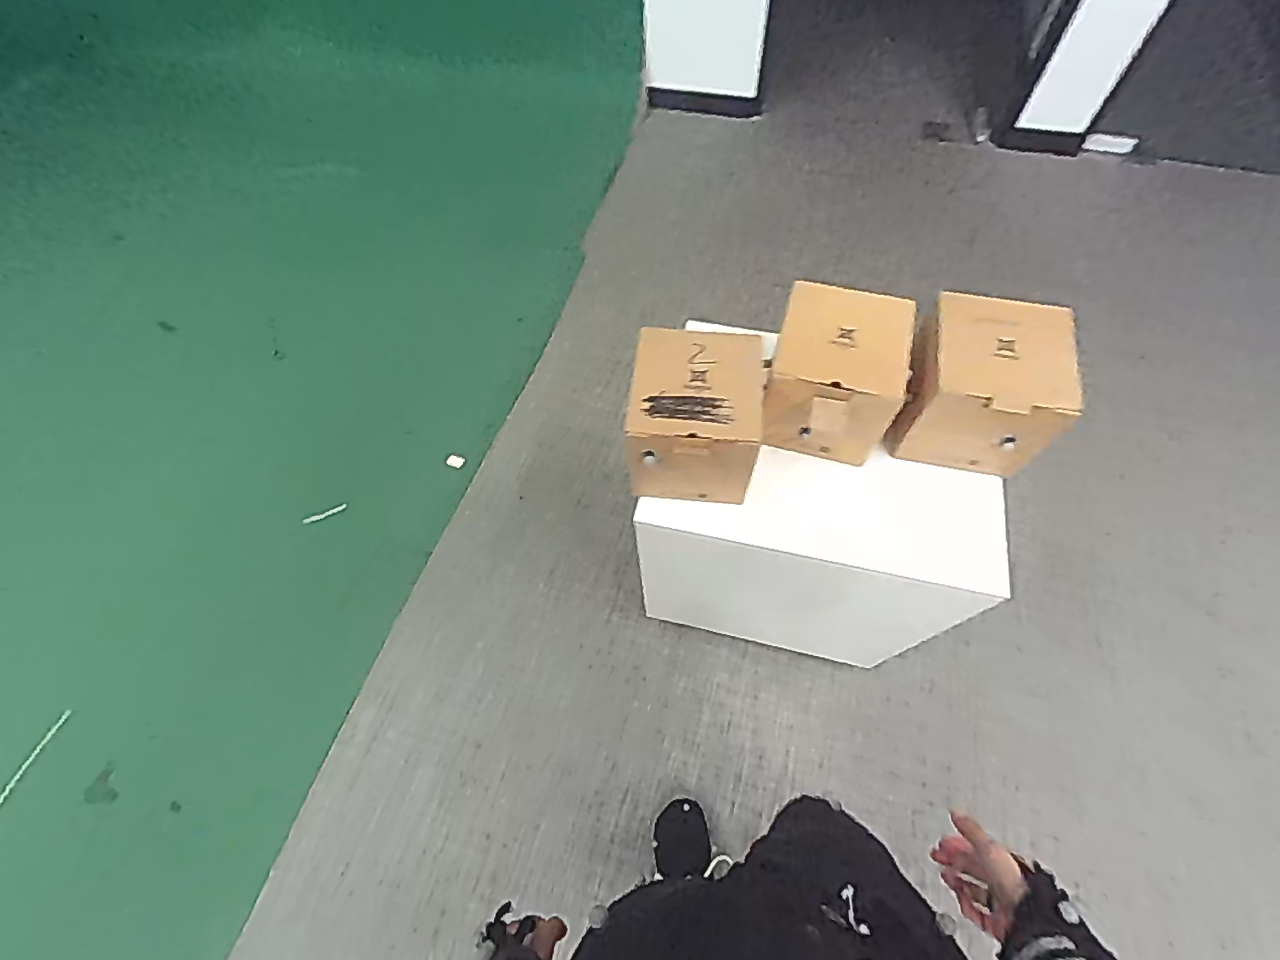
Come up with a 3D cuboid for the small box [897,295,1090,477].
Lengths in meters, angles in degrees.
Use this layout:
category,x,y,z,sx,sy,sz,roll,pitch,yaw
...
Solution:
category,x,y,z,sx,sy,sz,roll,pitch,yaw
small box,0.475,-0.124,0.755,0.168,0.176,0.179,11,63,8
